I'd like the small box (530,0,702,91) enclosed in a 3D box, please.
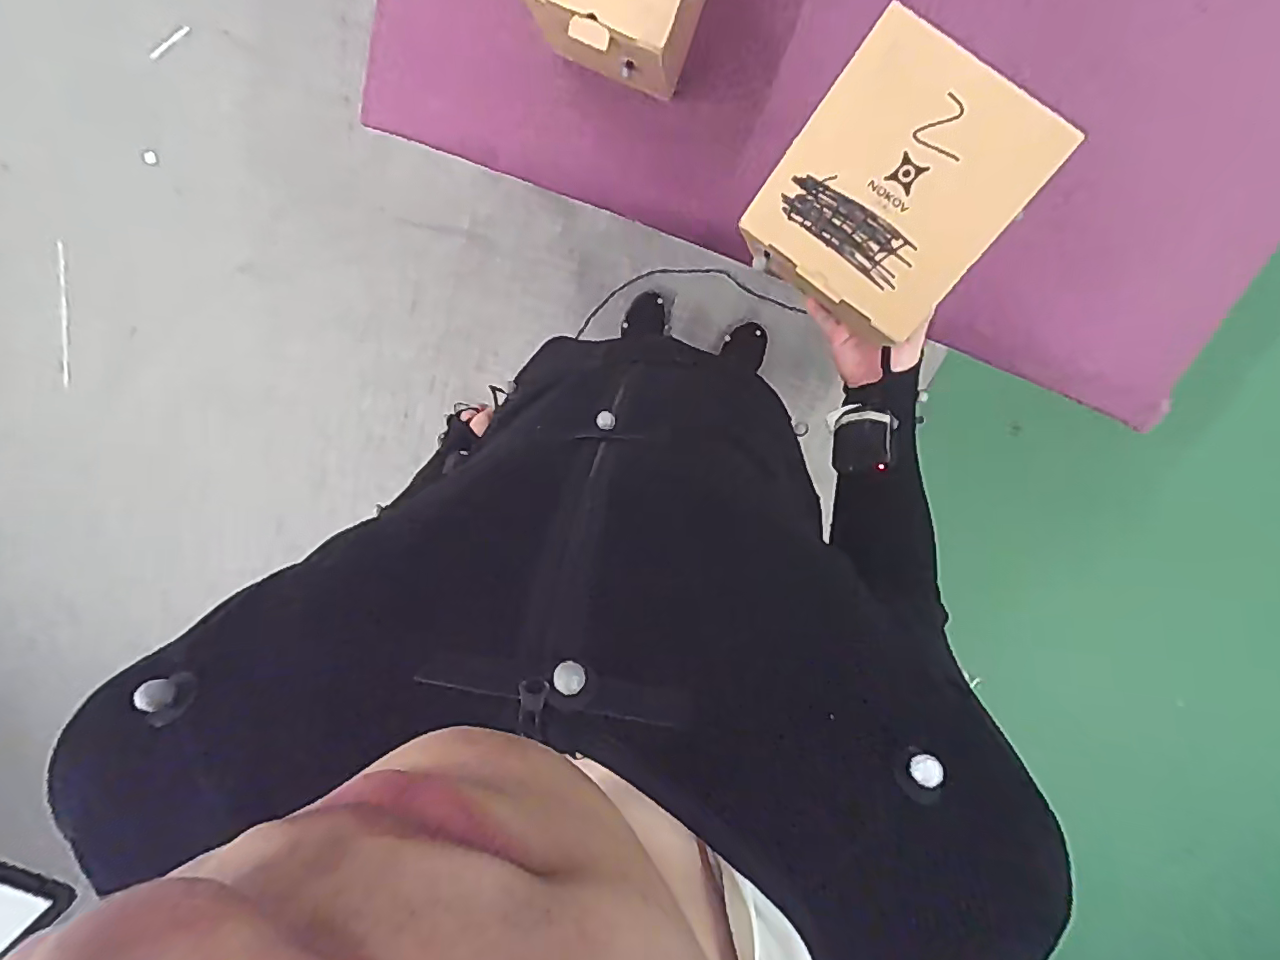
[{"bbox_3d":[-0.014,-0.583,0.606,0.168,0.176,0.179,23,110,-3],"label":"small box"}]
